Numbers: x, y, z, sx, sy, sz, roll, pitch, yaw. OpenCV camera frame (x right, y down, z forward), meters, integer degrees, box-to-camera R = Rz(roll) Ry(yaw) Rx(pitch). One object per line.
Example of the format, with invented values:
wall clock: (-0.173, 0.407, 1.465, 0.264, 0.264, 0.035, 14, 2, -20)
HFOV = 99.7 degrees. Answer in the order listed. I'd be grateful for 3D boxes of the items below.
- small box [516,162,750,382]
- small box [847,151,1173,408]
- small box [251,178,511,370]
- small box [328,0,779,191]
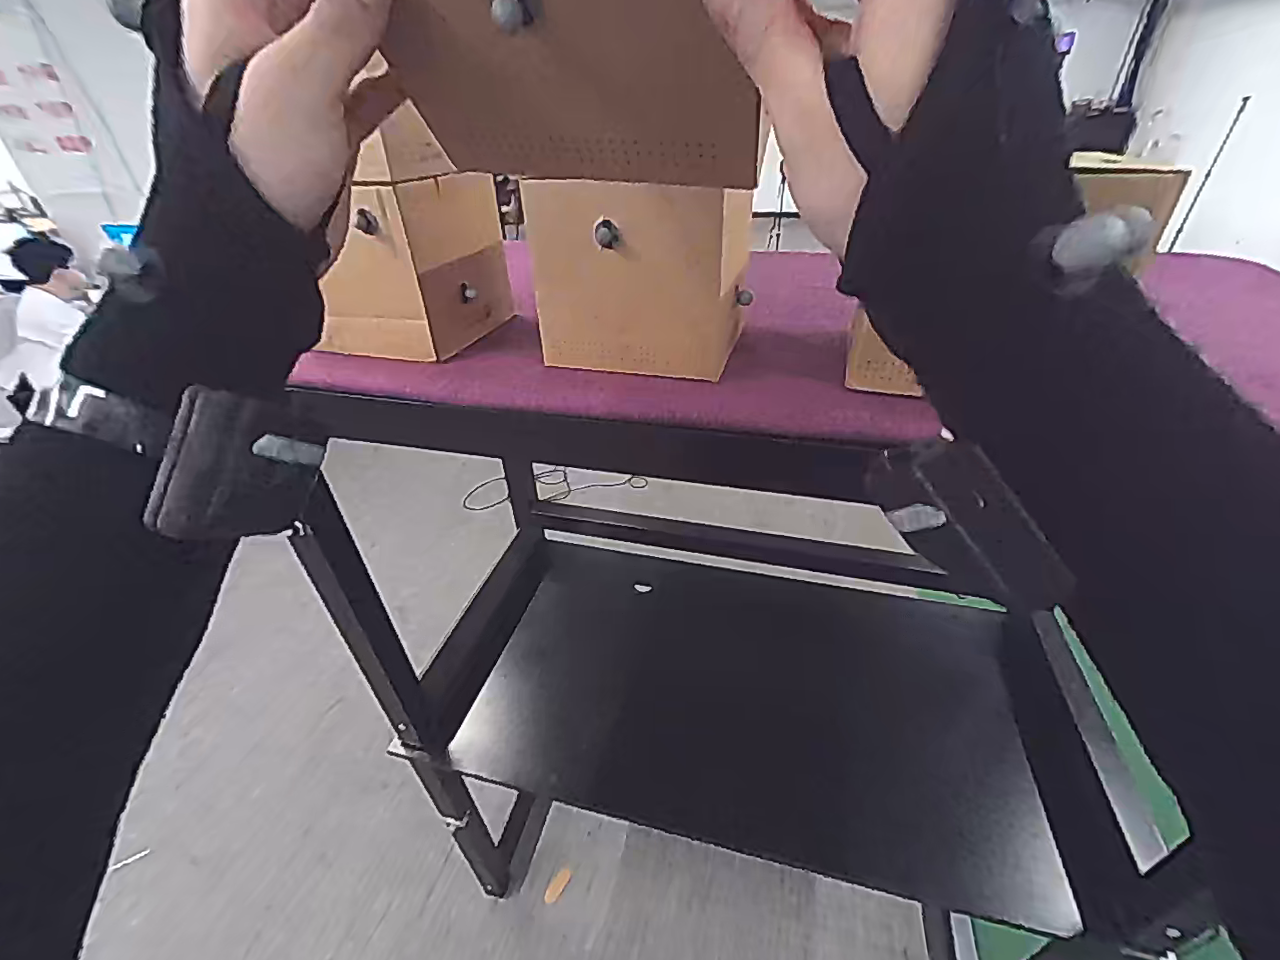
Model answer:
small box: (0.007, -0.206, 0.534, 0.179, 0.176, 0.168, 7, 36, 17)
small box: (0.278, -0.172, 0.461, 0.179, 0.176, 0.168, 7, 36, 17)
small box: (-0.267, -0.232, 0.602, 0.179, 0.176, 0.168, 9, 36, 15)
small box: (-0.027, -0.257, 0.239, 0.179, 0.176, 0.168, 10, 78, 15)
